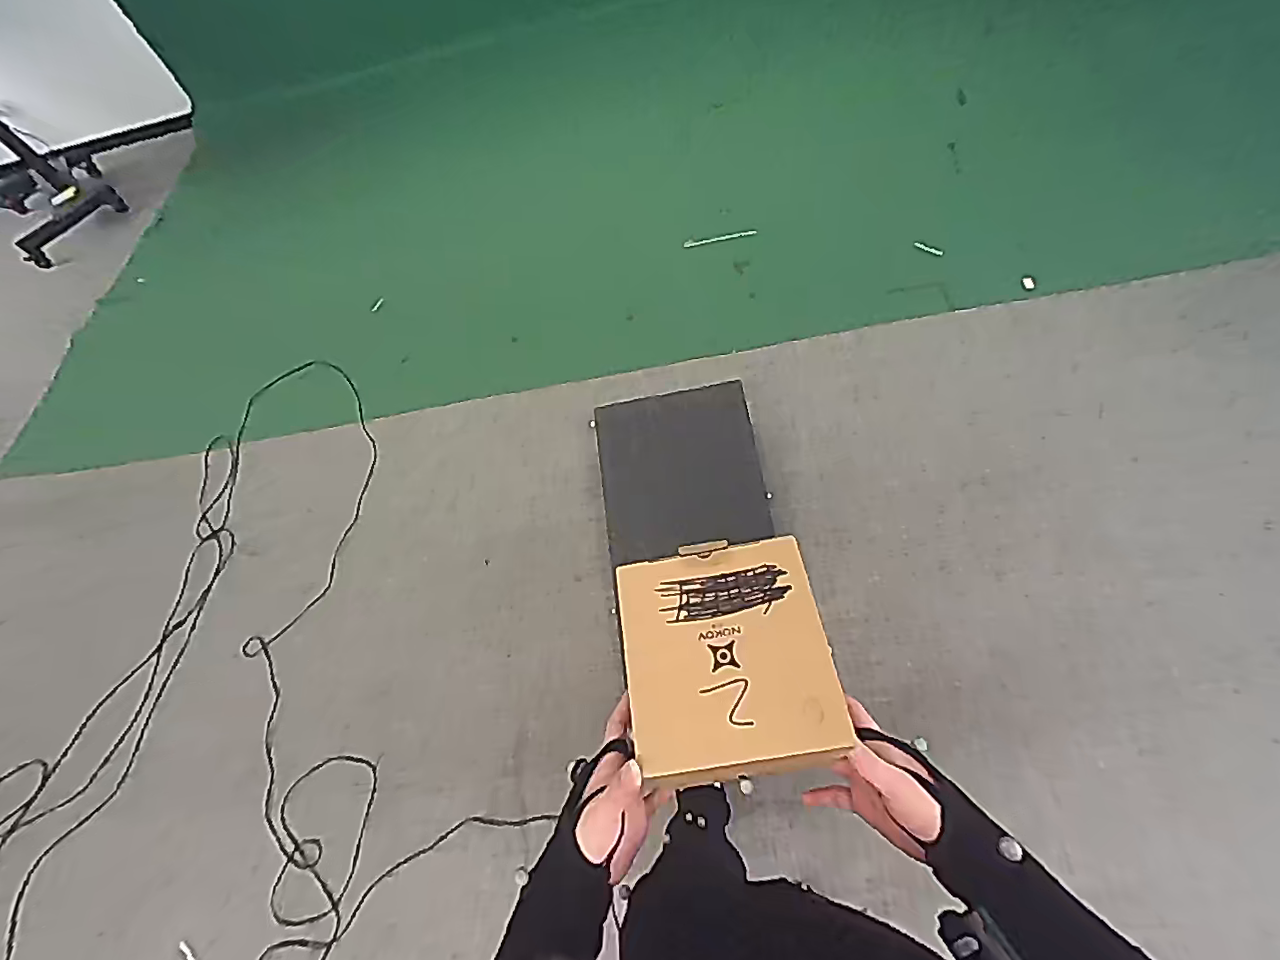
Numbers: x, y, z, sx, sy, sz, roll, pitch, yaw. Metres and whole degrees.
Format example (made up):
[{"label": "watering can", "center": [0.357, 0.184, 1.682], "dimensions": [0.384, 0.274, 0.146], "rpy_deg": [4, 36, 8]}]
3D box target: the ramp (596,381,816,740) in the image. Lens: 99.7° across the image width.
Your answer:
[{"label": "ramp", "center": [0.158, 0.187, 1.581], "dimensions": [0.509, 0.206, 0.991], "rpy_deg": [-11, 60, 4]}]
